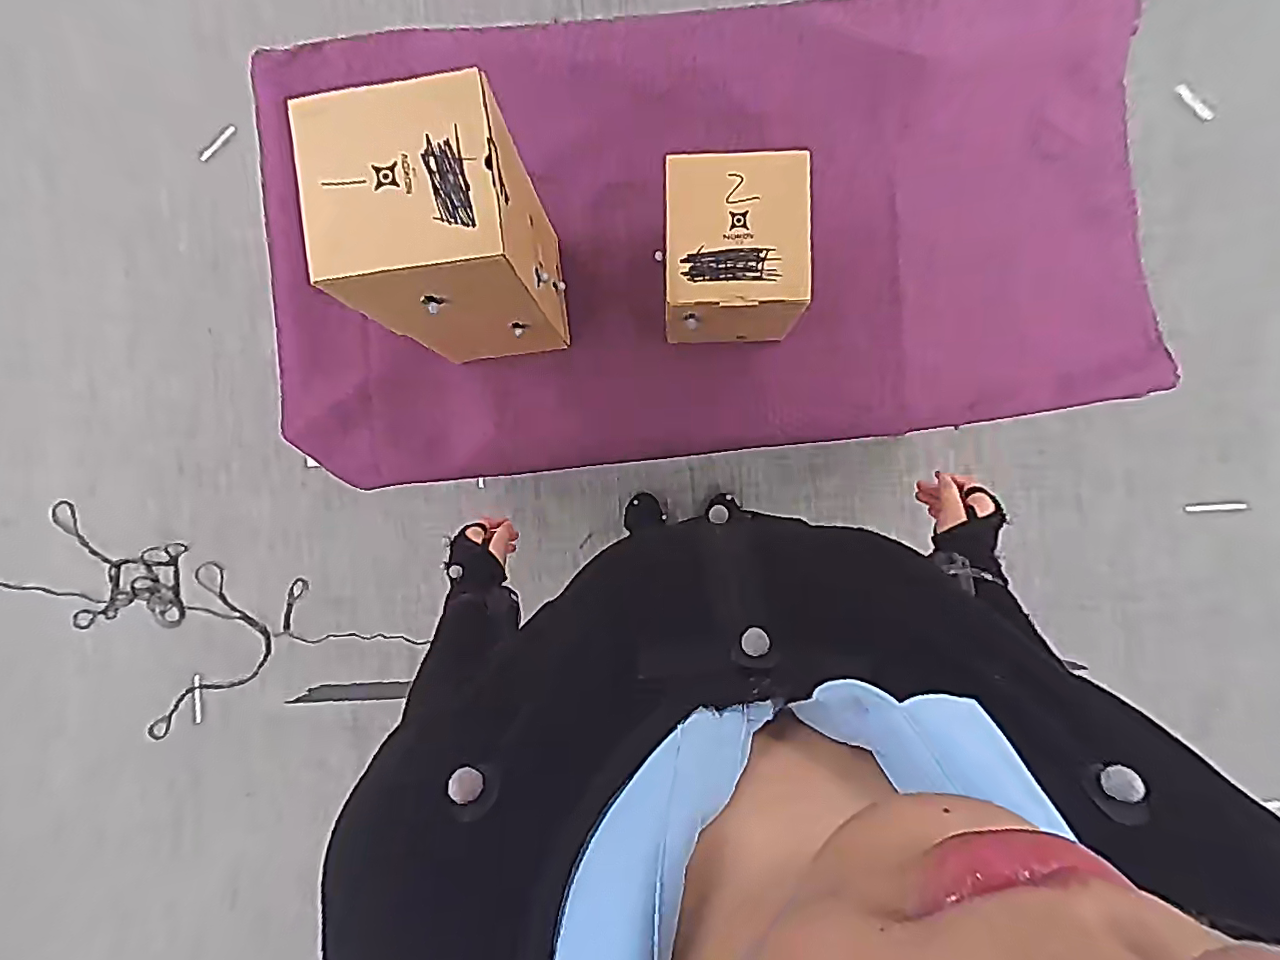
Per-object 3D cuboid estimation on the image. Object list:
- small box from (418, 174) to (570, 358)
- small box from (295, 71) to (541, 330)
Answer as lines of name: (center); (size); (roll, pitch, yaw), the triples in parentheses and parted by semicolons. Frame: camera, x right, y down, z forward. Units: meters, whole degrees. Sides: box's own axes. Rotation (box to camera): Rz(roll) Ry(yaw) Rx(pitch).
small box: (-0.200, -0.267, 0.714); (0.179, 0.176, 0.168); (-7, 89, 2)
small box: (-0.205, -0.263, 0.550); (0.179, 0.176, 0.168); (-7, 89, 2)
